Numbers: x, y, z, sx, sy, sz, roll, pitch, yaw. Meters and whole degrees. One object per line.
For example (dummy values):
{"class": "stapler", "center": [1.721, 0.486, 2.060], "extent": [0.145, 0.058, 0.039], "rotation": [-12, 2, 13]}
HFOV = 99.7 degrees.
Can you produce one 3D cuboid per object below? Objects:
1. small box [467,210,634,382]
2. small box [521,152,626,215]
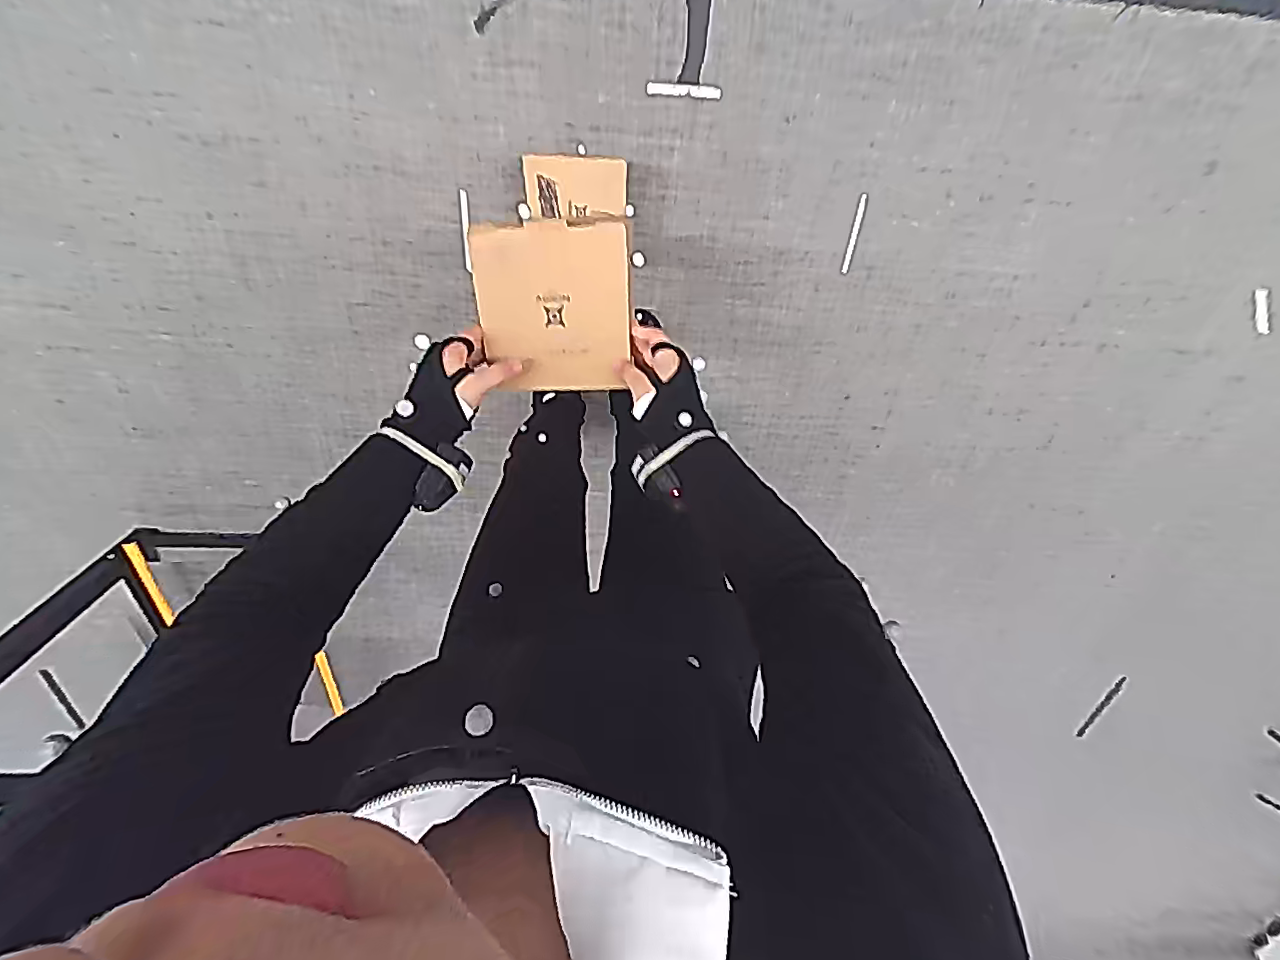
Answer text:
{"class": "small box", "center": [-0.094, -0.231, 0.661], "extent": [0.168, 0.176, 0.179], "rotation": [-1, 119, 3]}
{"class": "small box", "center": [-0.117, -0.510, 1.006], "extent": [0.179, 0.176, 0.168], "rotation": [1, 123, -4]}
